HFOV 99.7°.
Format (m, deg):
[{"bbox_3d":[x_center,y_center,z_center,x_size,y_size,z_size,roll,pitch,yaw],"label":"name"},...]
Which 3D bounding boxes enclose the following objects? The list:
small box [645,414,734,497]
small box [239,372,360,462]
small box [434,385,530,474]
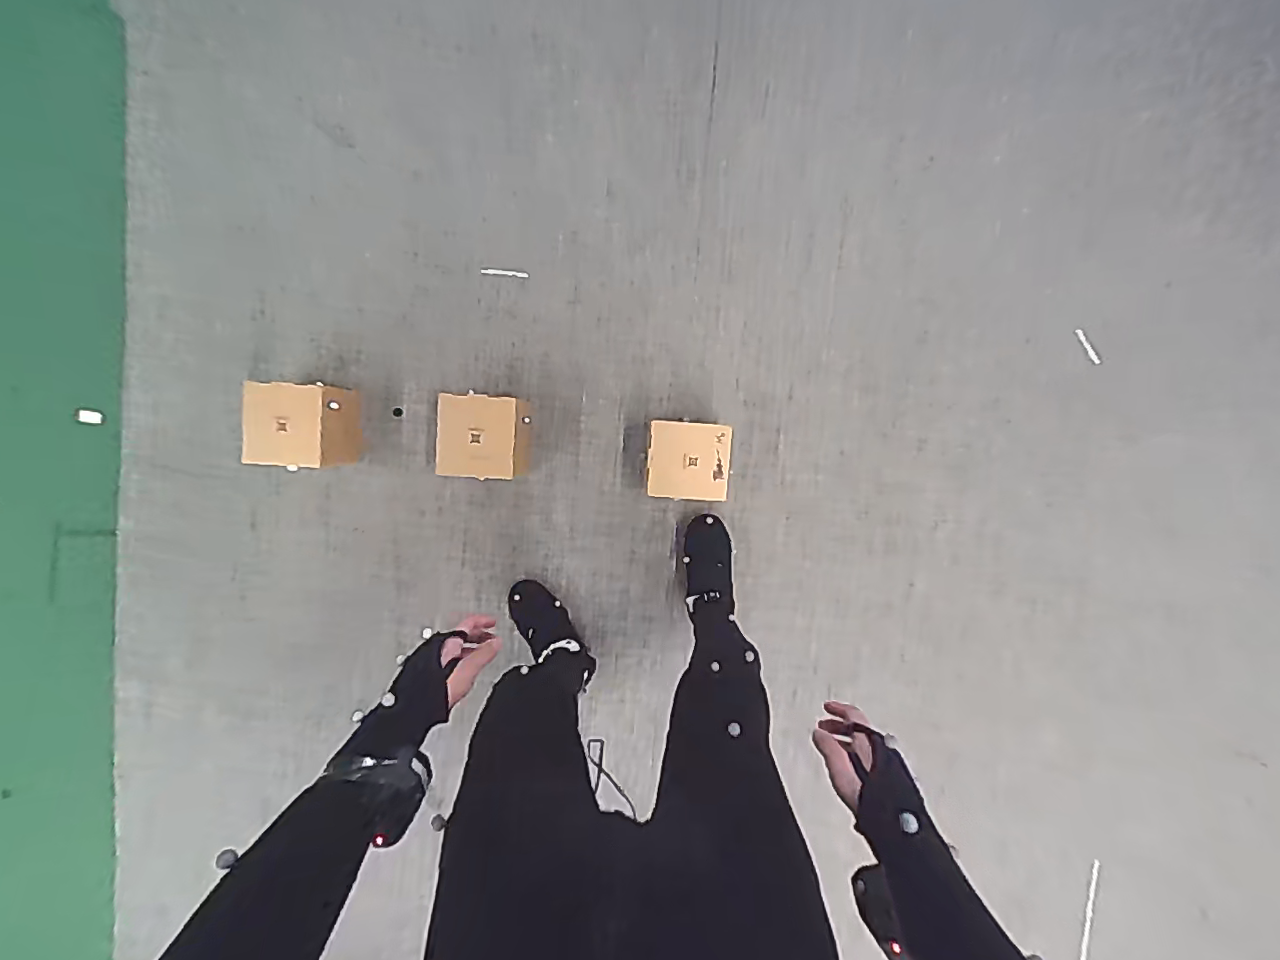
[{"bbox_3d":[0.103,-0.056,1.219,0.179,0.176,0.168,5,94,-1],"label":"small box"},{"bbox_3d":[-0.744,-0.136,1.196,0.168,0.176,0.179,4,93,-1],"label":"small box"},{"bbox_3d":[-0.345,-0.110,1.207,0.168,0.176,0.179,4,94,-1],"label":"small box"}]
